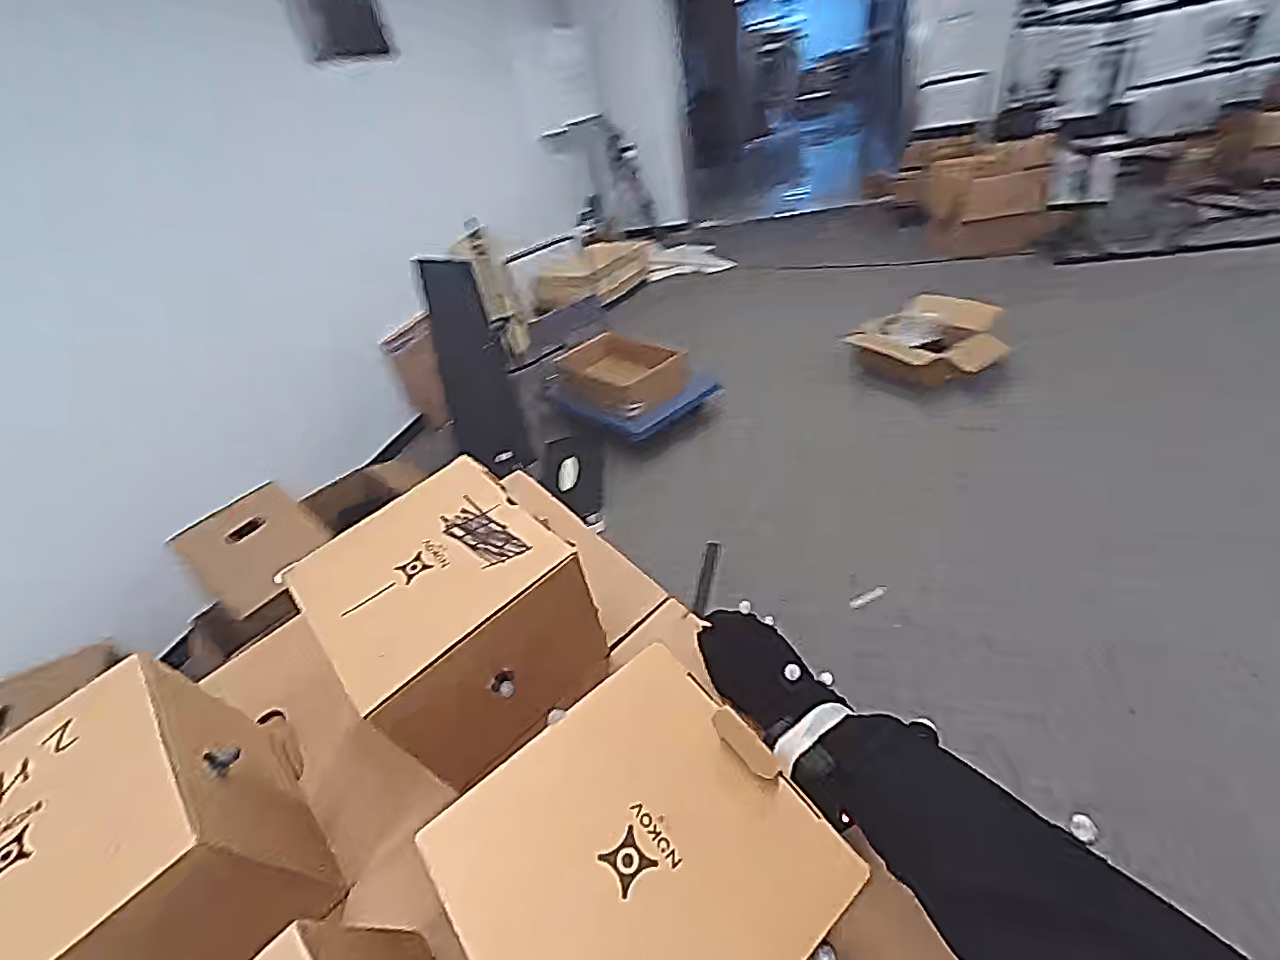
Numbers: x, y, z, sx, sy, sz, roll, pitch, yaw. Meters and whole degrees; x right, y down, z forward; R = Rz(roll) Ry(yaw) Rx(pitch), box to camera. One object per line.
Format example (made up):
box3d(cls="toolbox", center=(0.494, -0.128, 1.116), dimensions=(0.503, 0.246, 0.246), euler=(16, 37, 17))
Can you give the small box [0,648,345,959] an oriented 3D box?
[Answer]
box3d(cls="small box", center=(-0.345, 0.262, 0.377), dimensions=(0.168, 0.176, 0.179), euler=(-37, 51, -25))
